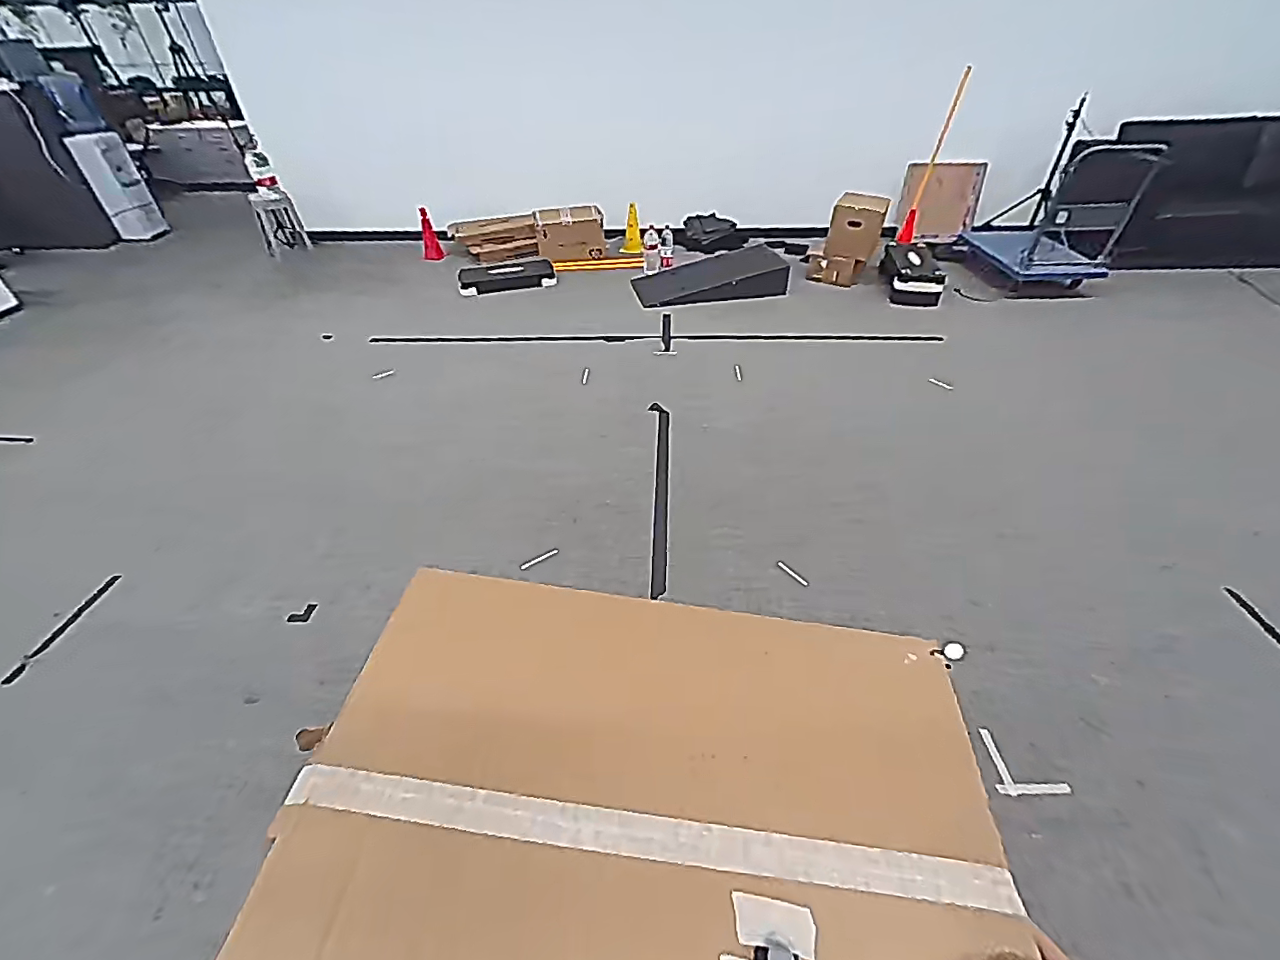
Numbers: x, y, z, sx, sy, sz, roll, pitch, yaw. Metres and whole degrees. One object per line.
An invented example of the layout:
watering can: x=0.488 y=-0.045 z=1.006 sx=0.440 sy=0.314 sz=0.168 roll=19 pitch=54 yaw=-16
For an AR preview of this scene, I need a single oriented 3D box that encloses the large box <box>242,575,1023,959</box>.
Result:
large box: x=-0.003 y=0.311 z=0.419 sx=0.408 sy=0.320 sz=0.320 roll=9 pitch=45 yaw=1
